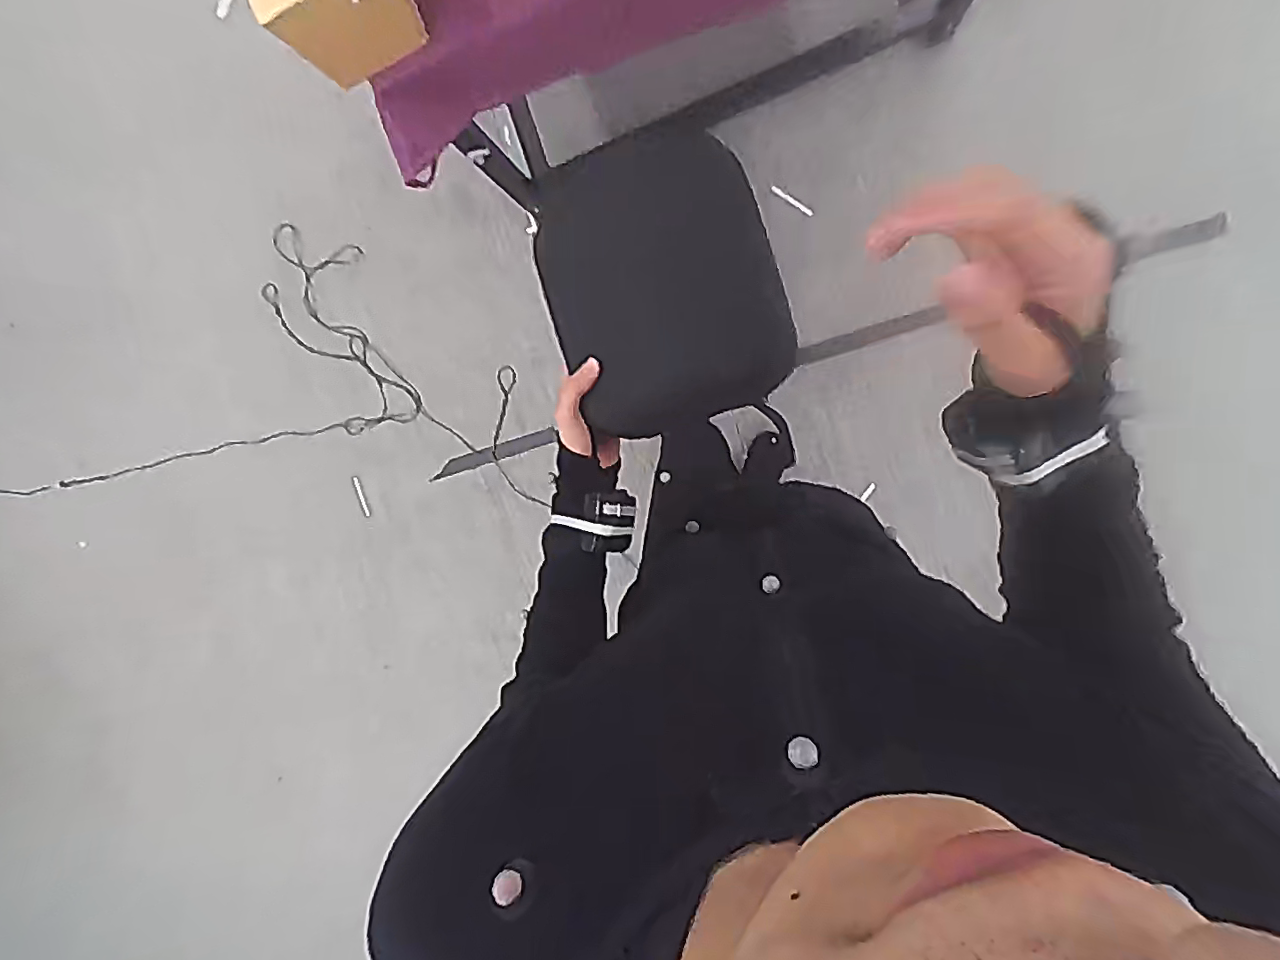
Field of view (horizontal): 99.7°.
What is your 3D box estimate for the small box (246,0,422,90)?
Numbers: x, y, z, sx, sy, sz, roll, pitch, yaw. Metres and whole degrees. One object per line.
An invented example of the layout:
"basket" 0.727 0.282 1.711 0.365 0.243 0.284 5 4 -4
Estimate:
"small box" -0.468 -0.740 0.808 0.179 0.176 0.168 -21 93 11
